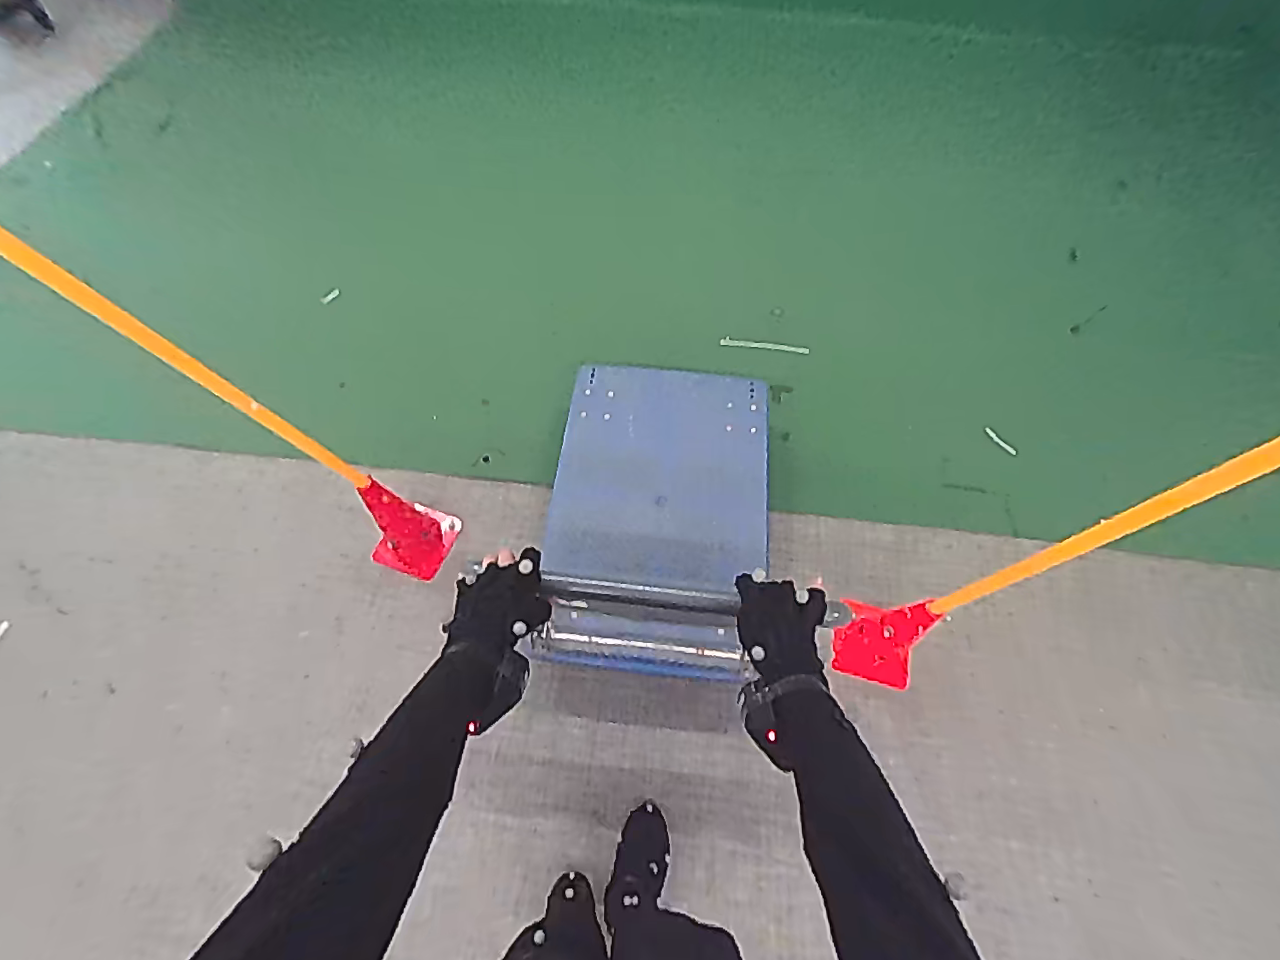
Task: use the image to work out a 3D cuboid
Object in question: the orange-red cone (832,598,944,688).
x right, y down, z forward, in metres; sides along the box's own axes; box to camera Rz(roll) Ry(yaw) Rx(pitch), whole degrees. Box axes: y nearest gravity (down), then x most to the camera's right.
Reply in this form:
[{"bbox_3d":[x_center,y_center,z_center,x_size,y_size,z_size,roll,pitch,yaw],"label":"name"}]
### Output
[{"bbox_3d":[0.618,0.348,1.280,0.198,0.360,0.199,16,63,8],"label":"orange-red cone"}]
